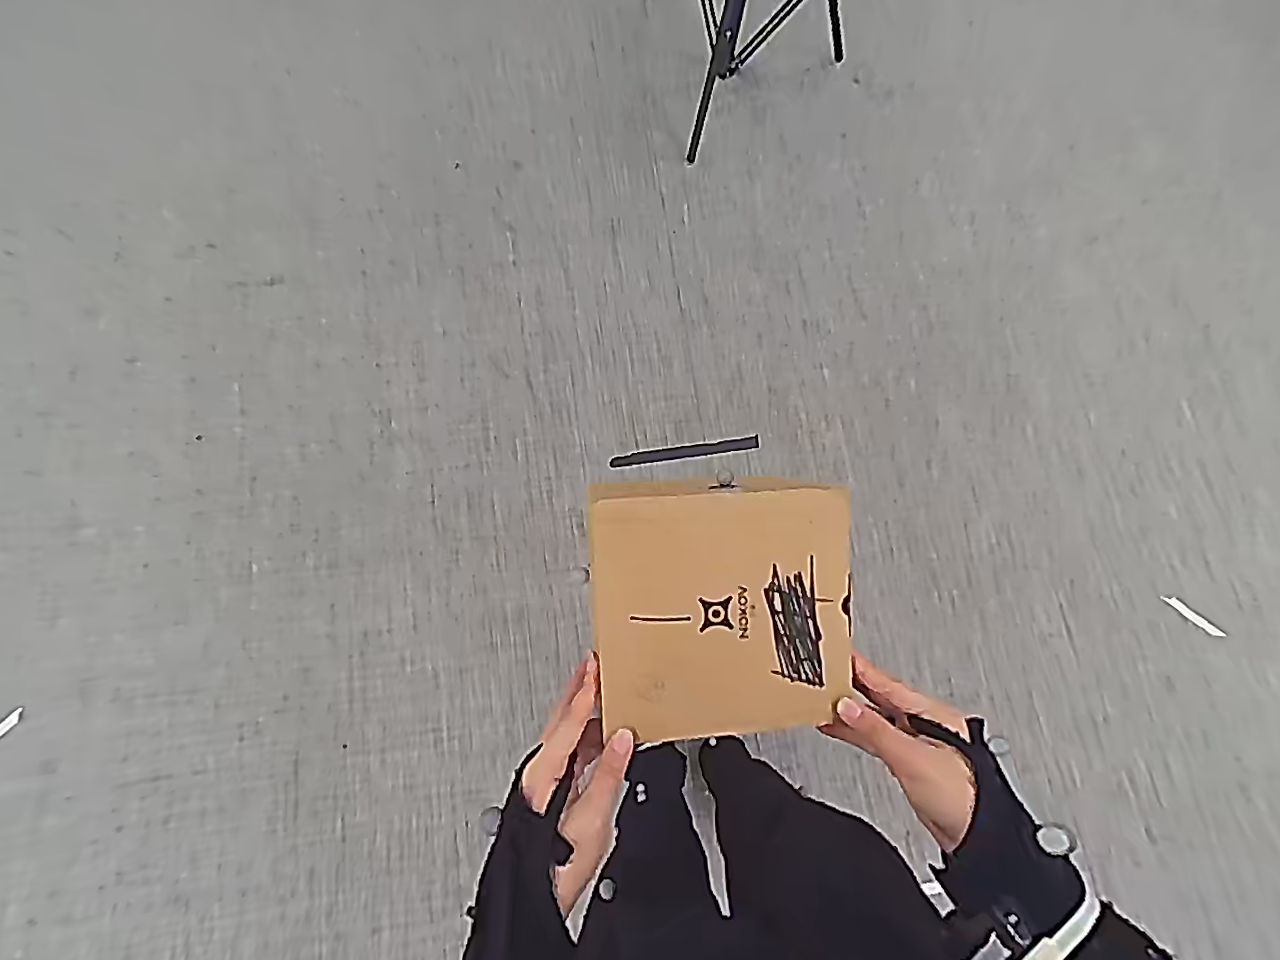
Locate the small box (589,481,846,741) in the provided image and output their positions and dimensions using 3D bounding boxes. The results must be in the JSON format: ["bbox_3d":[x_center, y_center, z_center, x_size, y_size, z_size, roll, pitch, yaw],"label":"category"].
[{"bbox_3d":[0.050,0.089,0.451,0.179,0.176,0.168,-2,93,-6],"label":"small box"}]
